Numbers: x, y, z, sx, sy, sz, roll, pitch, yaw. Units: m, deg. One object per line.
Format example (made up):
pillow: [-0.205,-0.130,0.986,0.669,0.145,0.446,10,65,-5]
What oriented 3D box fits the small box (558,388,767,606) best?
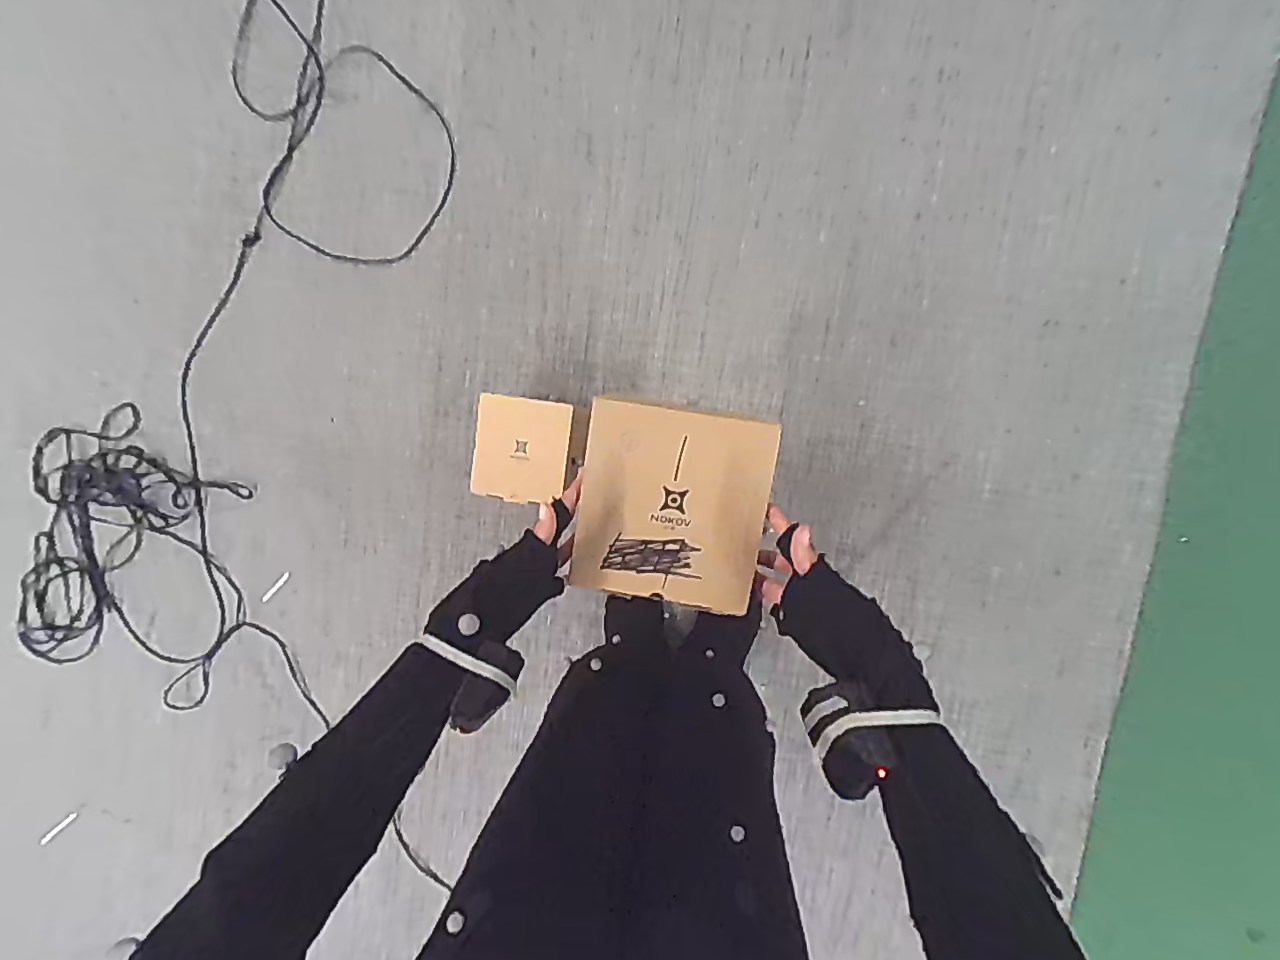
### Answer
small box: [0.024,0.005,0.560,0.168,0.176,0.179,10,99,3]

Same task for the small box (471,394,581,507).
small box: [-0.191,-0.055,1.001,0.168,0.176,0.179,8,95,8]
